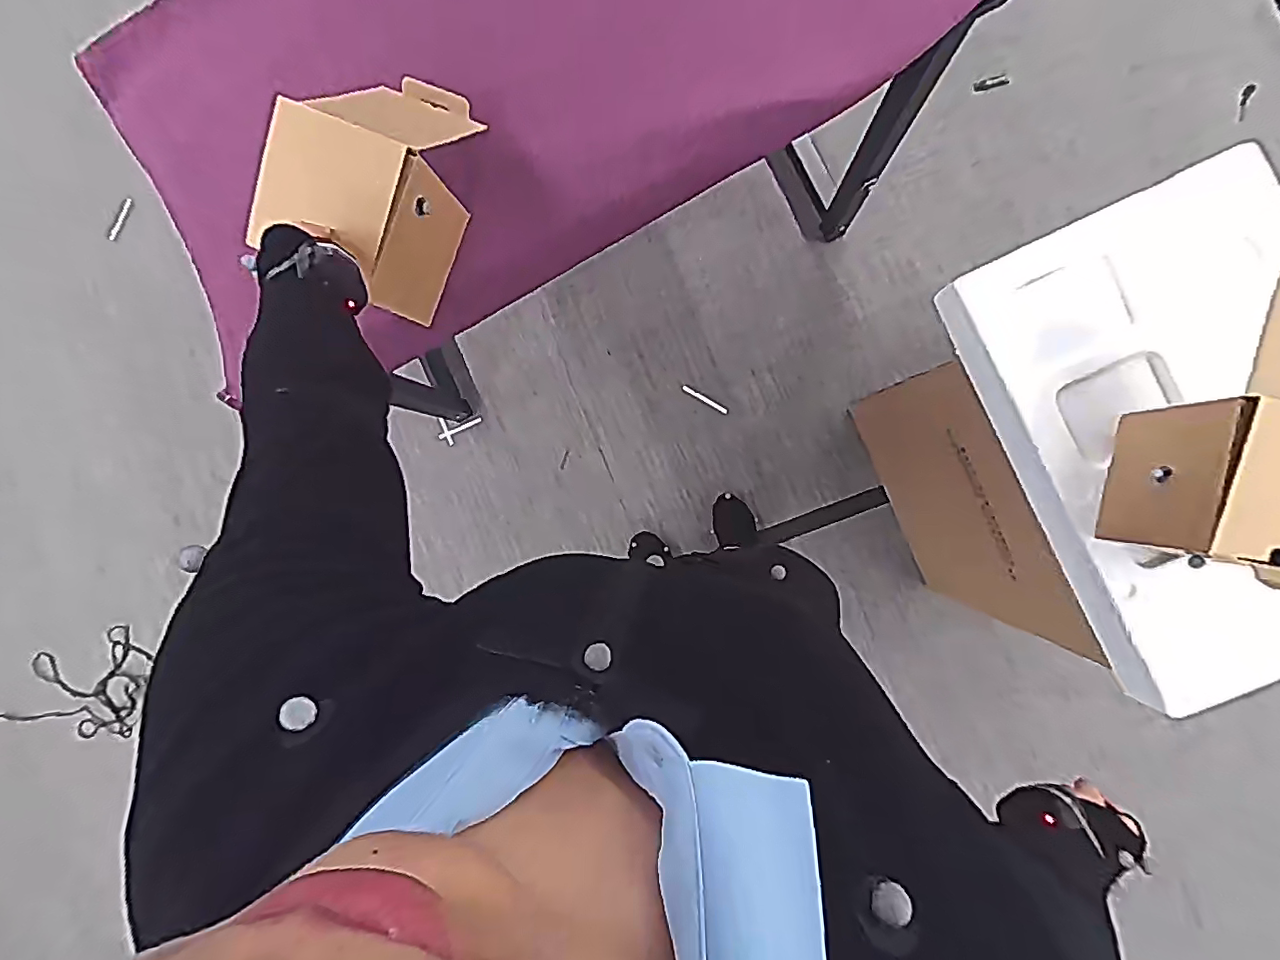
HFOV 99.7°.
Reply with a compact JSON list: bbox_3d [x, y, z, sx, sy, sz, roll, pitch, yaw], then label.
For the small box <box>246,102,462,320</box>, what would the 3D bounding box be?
[{"bbox_3d":[-0.359,-0.339,0.718,0.168,0.176,0.179,23,93,3],"label":"small box"}]
